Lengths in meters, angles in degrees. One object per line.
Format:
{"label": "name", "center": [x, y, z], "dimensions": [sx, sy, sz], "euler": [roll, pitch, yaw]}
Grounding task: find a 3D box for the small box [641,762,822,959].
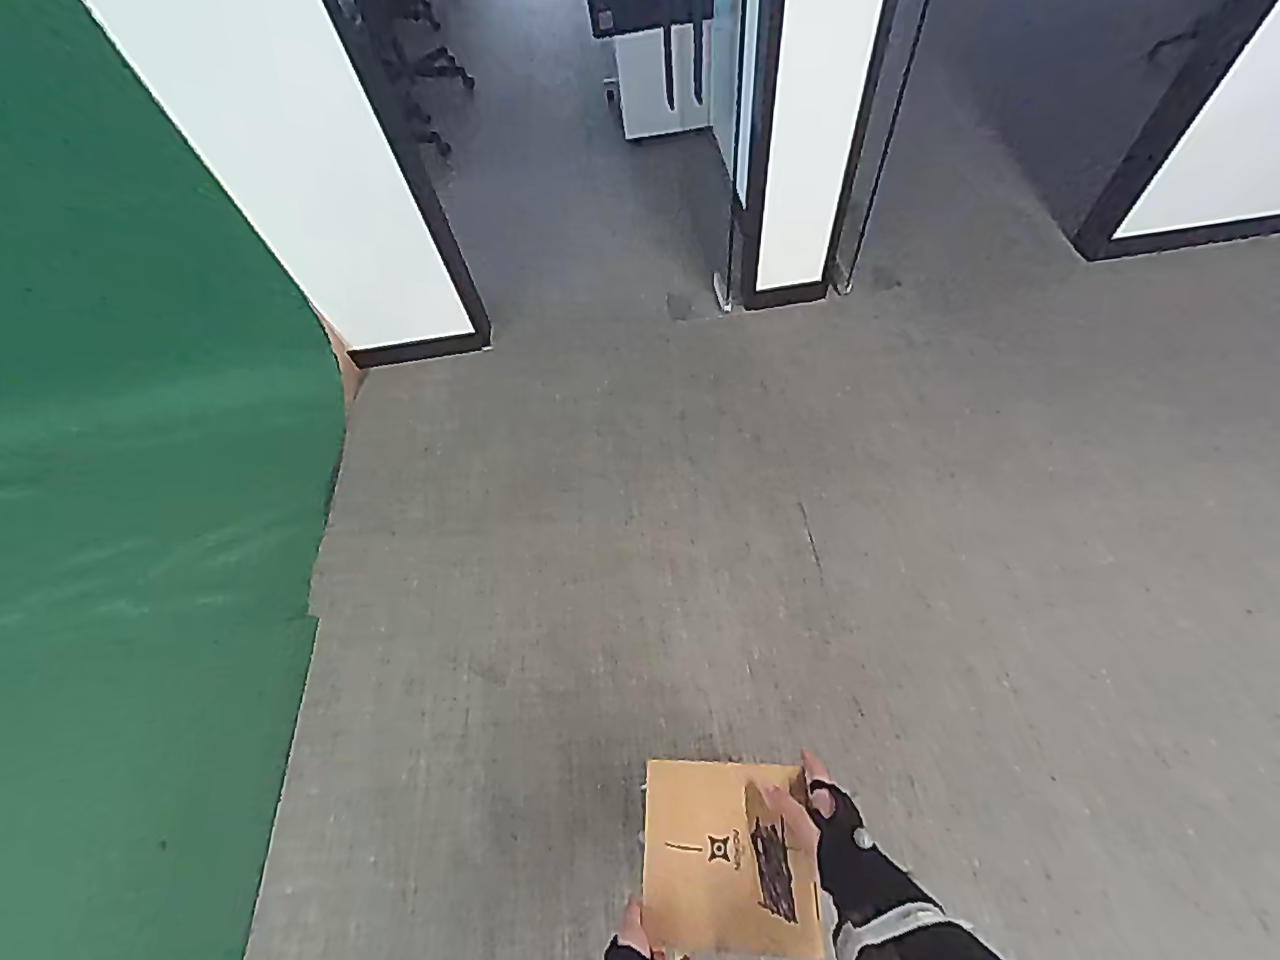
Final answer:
{"label": "small box", "center": [0.101, 0.432, 0.631], "dimensions": [0.179, 0.176, 0.168], "euler": [-2, 57, 8]}
